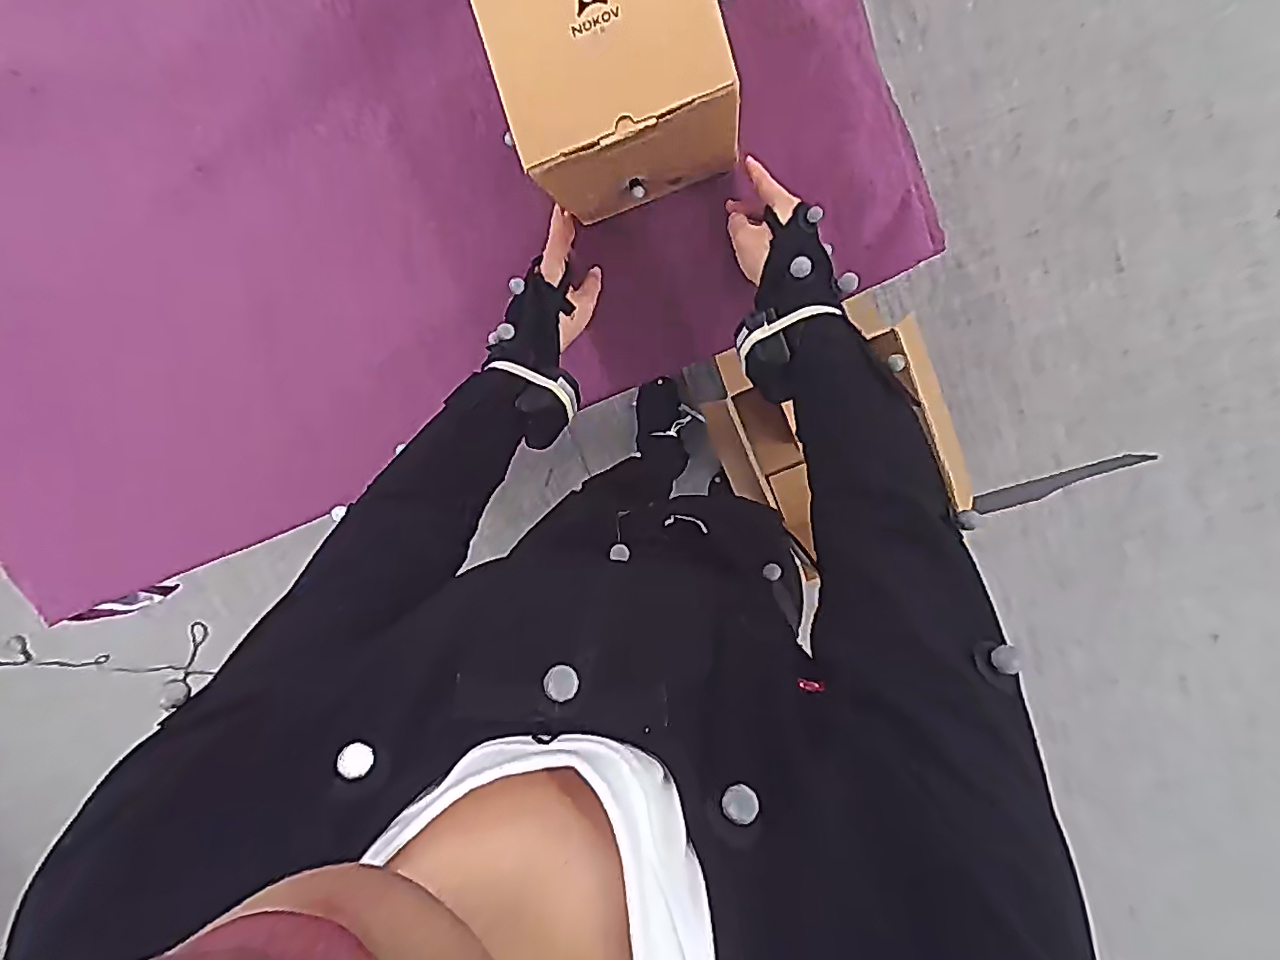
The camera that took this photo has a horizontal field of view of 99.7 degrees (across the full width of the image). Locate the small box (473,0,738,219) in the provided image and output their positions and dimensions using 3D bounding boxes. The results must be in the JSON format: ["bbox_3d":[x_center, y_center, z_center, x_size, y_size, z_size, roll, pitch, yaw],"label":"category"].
[{"bbox_3d":[-0.021,-0.350,0.452,0.168,0.176,0.179,-15,100,13],"label":"small box"}]
